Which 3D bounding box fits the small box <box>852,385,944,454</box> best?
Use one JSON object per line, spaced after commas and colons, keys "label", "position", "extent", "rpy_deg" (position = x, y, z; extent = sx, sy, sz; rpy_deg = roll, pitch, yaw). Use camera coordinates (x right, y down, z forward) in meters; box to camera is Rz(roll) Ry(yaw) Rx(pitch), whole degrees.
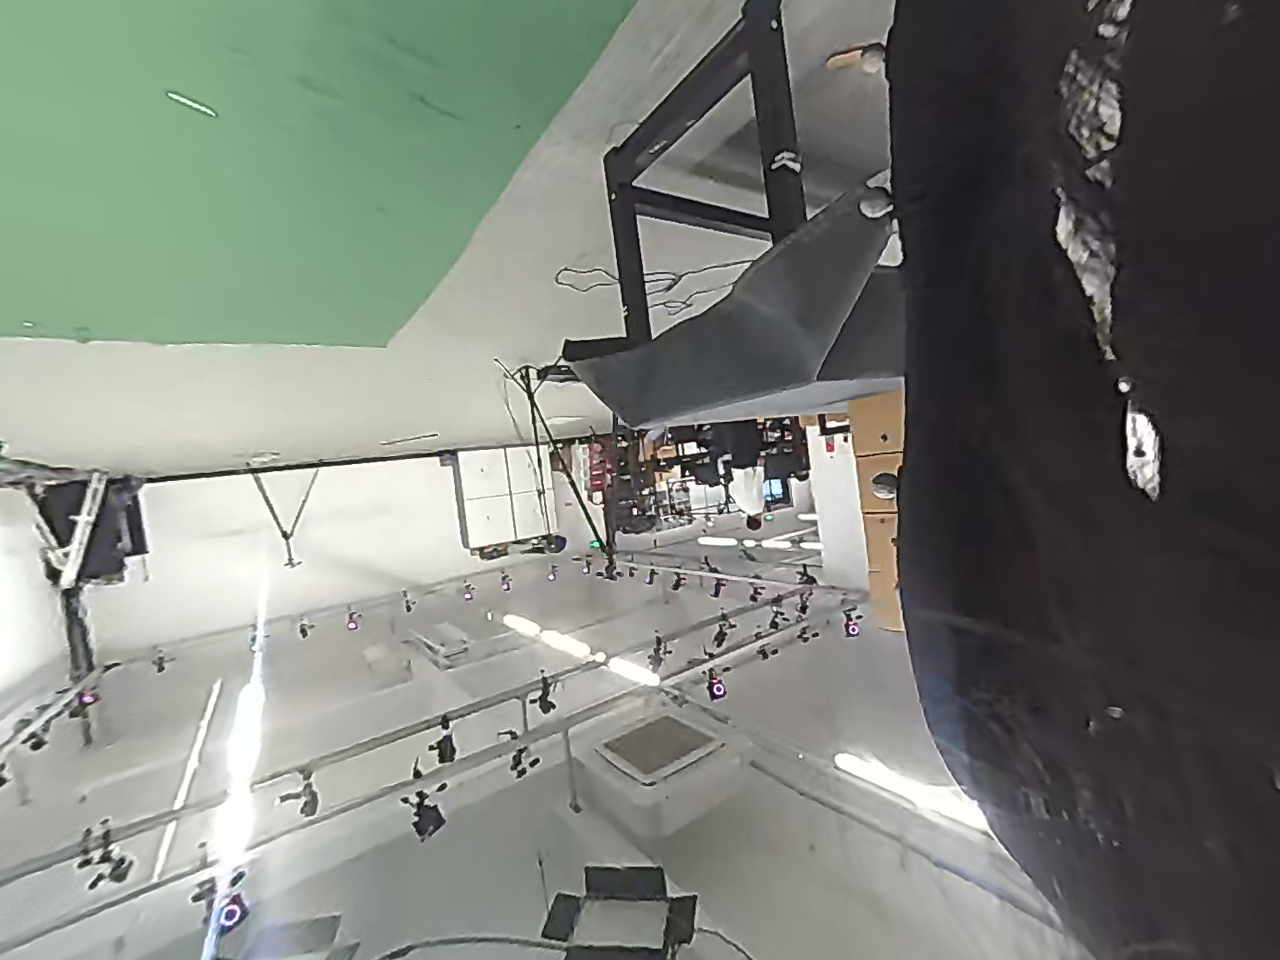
{"label": "small box", "position": [0.724, -0.173, 1.528], "extent": [0.168, 0.176, 0.179], "rpy_deg": [-8, -178, -35]}

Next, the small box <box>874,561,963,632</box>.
{"label": "small box", "position": [0.783, 0.314, 1.529], "extent": [0.168, 0.176, 0.179], "rpy_deg": [-8, -179, -37]}

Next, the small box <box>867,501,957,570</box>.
{"label": "small box", "position": [0.766, 0.151, 1.529], "extent": [0.179, 0.176, 0.168], "rpy_deg": [-8, -179, -36]}

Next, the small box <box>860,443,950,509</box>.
{"label": "small box", "position": [0.745, -0.012, 1.530], "extent": [0.168, 0.176, 0.179], "rpy_deg": [-8, -179, -35]}
